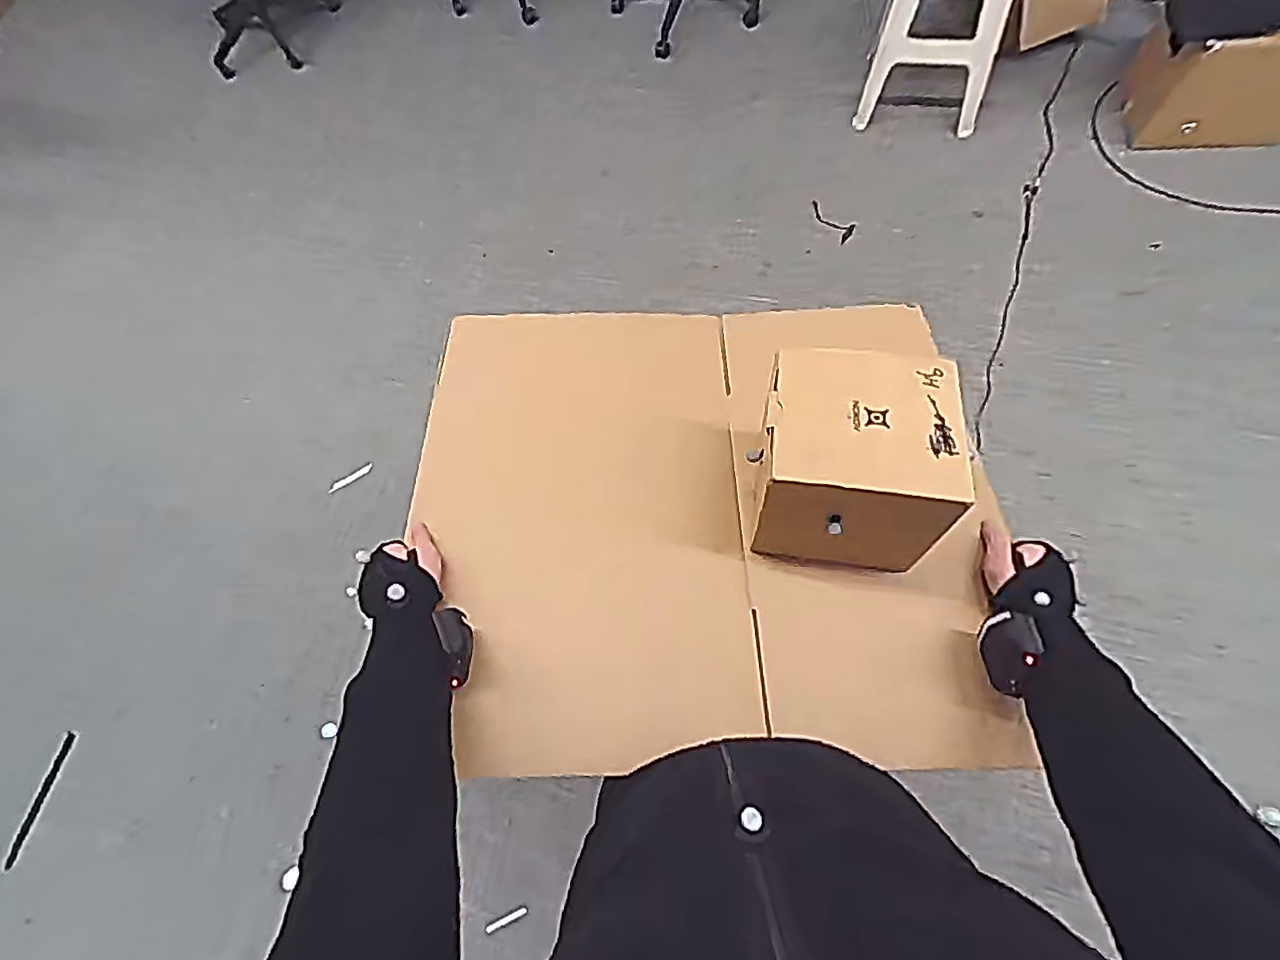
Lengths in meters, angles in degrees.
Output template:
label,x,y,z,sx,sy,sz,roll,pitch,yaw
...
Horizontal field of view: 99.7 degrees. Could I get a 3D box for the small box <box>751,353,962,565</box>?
label,x,y,z,sx,sy,sz,roll,pitch,yaw
small box,0.218,-0.017,0.591,0.179,0.176,0.168,6,61,10
